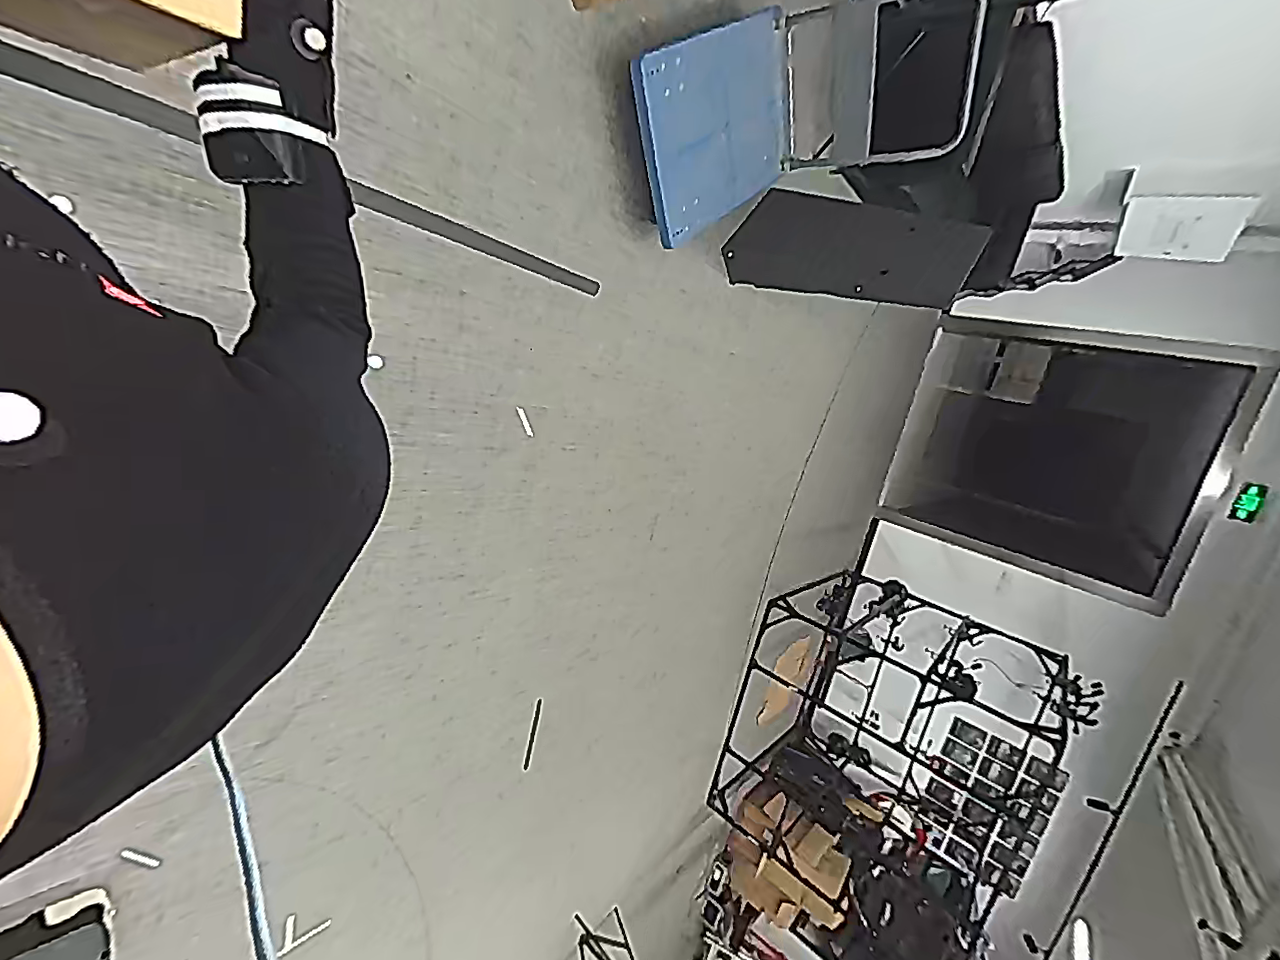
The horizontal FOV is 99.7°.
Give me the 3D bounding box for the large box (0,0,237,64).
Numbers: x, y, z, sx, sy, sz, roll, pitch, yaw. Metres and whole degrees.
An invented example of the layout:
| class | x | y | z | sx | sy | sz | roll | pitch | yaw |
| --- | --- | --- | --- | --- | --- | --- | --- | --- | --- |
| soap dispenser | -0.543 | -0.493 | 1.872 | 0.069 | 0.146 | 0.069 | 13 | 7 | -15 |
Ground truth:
| class | x | y | z | sx | sy | sz | roll | pitch | yaw |
| --- | --- | --- | --- | --- | --- | --- | --- | --- | --- |
| large box | -0.484 | -0.471 | 0.253 | 0.408 | 0.320 | 0.320 | -11 | 119 | -50 |
